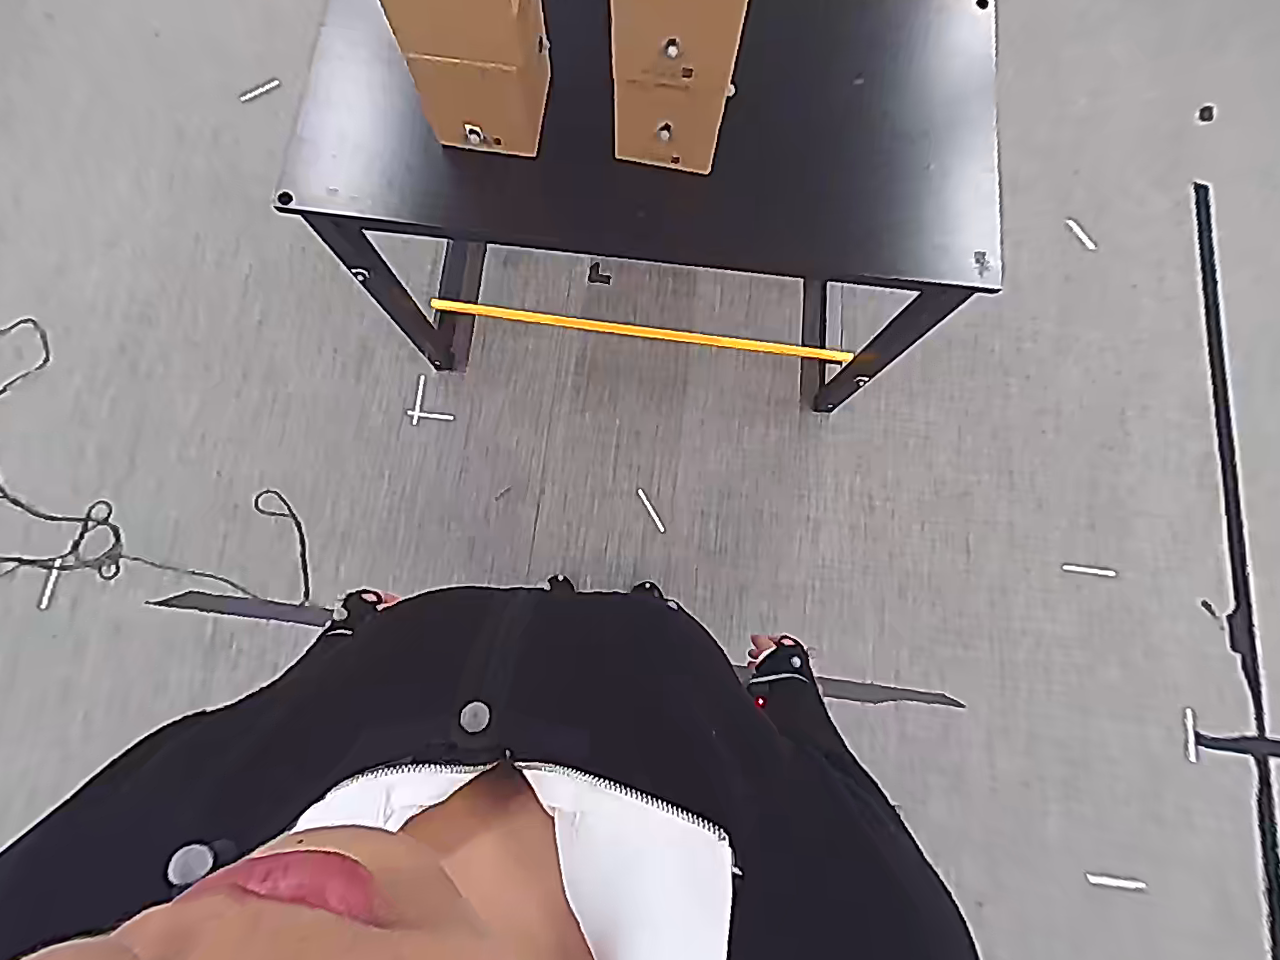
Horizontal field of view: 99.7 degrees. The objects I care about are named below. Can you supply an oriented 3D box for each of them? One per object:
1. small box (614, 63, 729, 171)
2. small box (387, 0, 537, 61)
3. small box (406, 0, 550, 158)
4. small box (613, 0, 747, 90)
[{"bbox_3d":[0.056,-0.632,0.859,0.168,0.176,0.179,10,79,0],"label":"small box"},{"bbox_3d":[-0.236,-0.683,0.692,0.179,0.176,0.168,5,79,-1],"label":"small box"},{"bbox_3d":[-0.241,-0.654,0.854,0.168,0.176,0.179,6,80,0],"label":"small box"},{"bbox_3d":[0.054,-0.655,0.695,0.168,0.176,0.179,6,79,0],"label":"small box"}]
